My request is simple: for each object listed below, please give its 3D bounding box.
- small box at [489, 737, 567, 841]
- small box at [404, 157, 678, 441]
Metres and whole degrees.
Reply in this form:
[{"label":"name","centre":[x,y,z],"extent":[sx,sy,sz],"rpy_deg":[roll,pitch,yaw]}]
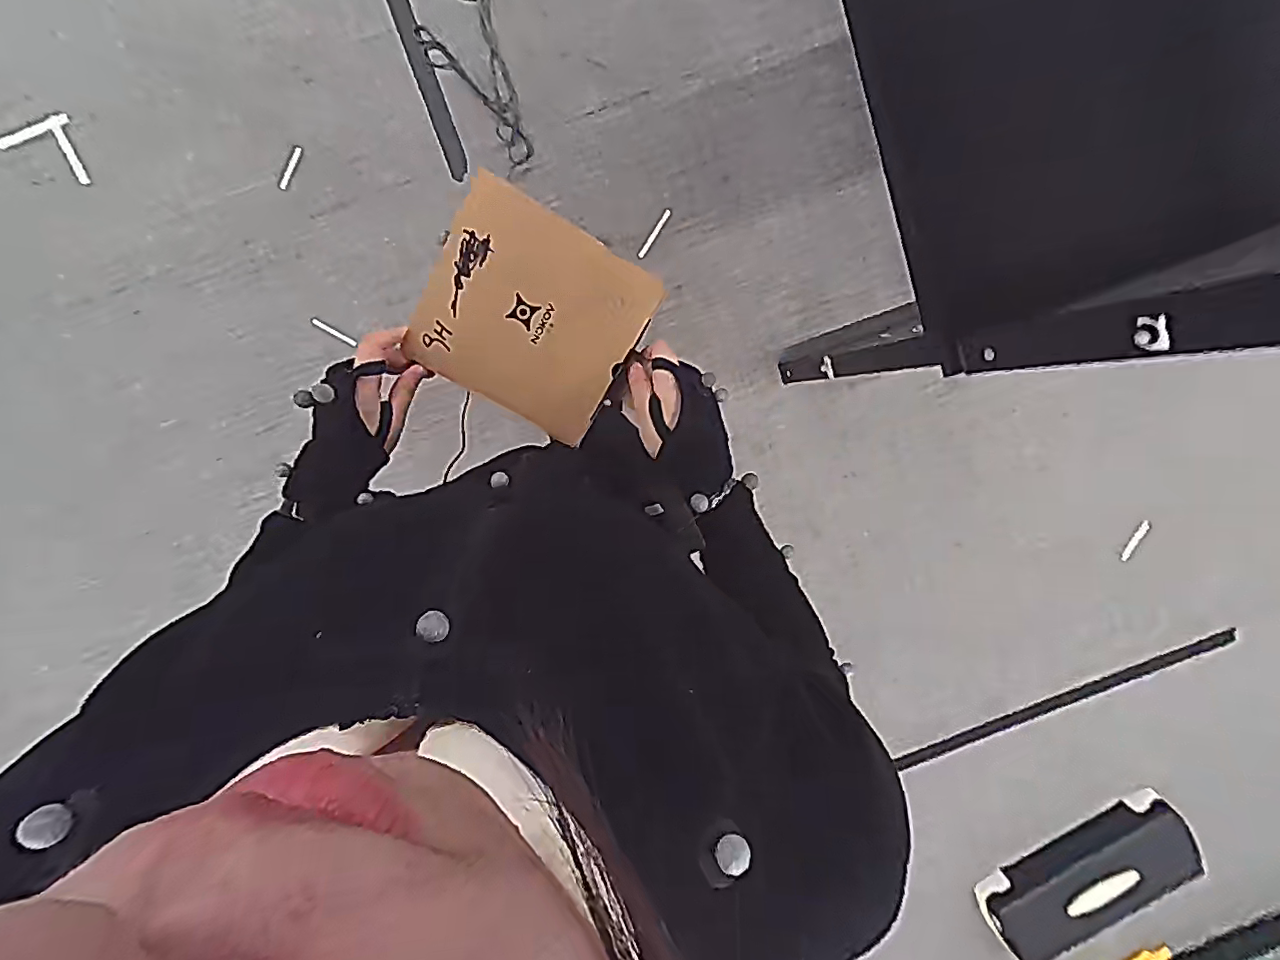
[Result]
[{"label":"small box","centre":[-0.304,0.845,1.501],"extent":[0.168,0.176,0.179],"rpy_deg":[-14,100,-1]},{"label":"small box","centre":[-0.085,-0.166,0.520],"extent":[0.179,0.176,0.168],"rpy_deg":[29,105,-11]}]
